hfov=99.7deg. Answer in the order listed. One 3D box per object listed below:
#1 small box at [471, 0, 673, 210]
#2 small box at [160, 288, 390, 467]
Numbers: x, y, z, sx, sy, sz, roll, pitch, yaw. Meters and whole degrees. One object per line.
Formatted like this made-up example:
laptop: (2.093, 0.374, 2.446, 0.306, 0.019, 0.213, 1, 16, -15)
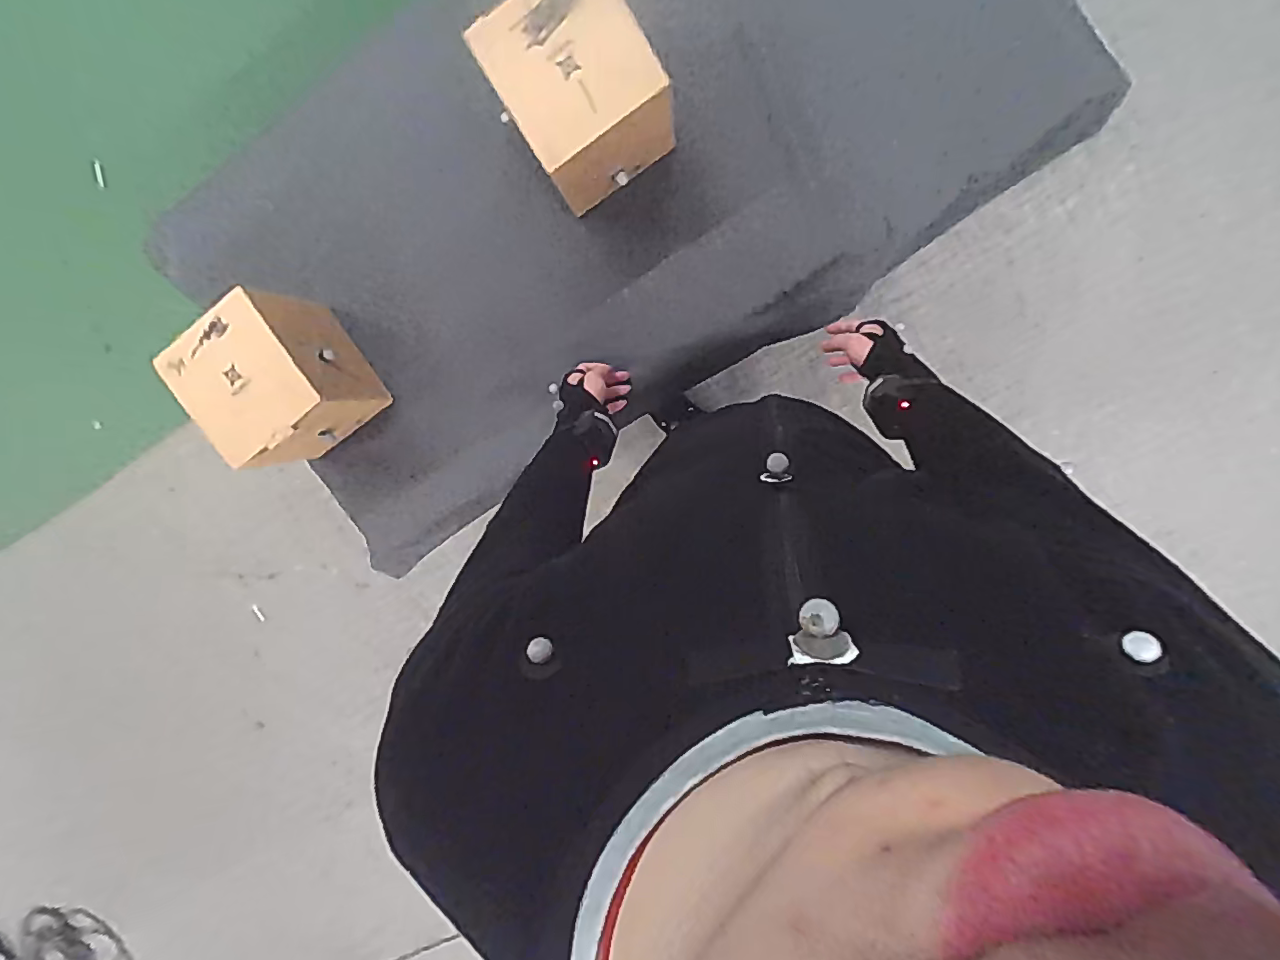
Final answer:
small box: (-0.072, -0.478, 0.676, 0.168, 0.176, 0.179, -31, 98, 10)
small box: (-0.502, -0.145, 0.774, 0.168, 0.176, 0.179, -34, 97, 9)
